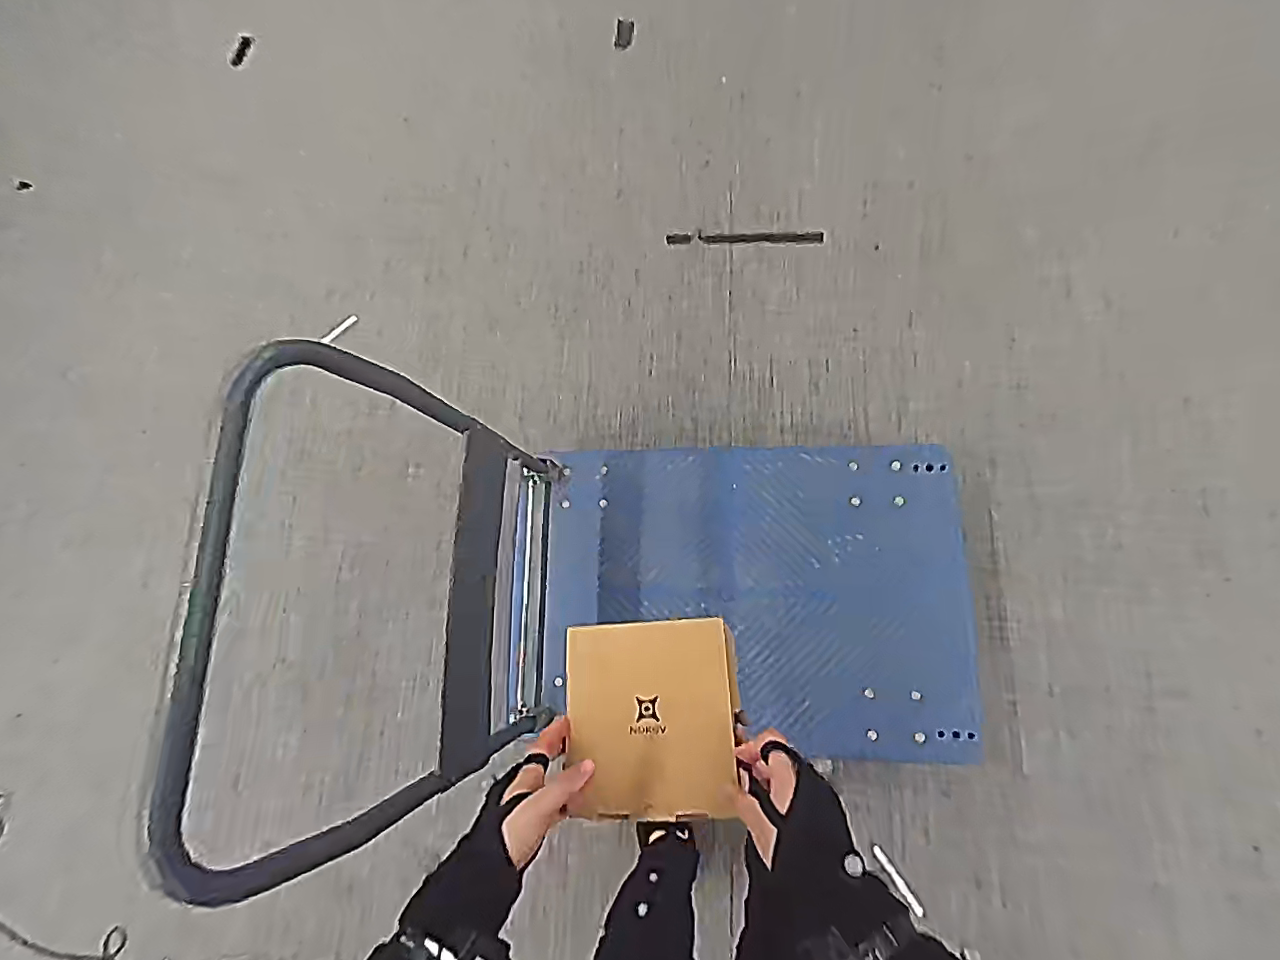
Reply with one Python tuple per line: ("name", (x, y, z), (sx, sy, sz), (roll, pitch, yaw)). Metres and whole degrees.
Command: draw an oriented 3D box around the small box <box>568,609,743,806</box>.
("small box", (0.023, 0.248, 0.604), (0.168, 0.176, 0.179), (-7, 69, 10))
